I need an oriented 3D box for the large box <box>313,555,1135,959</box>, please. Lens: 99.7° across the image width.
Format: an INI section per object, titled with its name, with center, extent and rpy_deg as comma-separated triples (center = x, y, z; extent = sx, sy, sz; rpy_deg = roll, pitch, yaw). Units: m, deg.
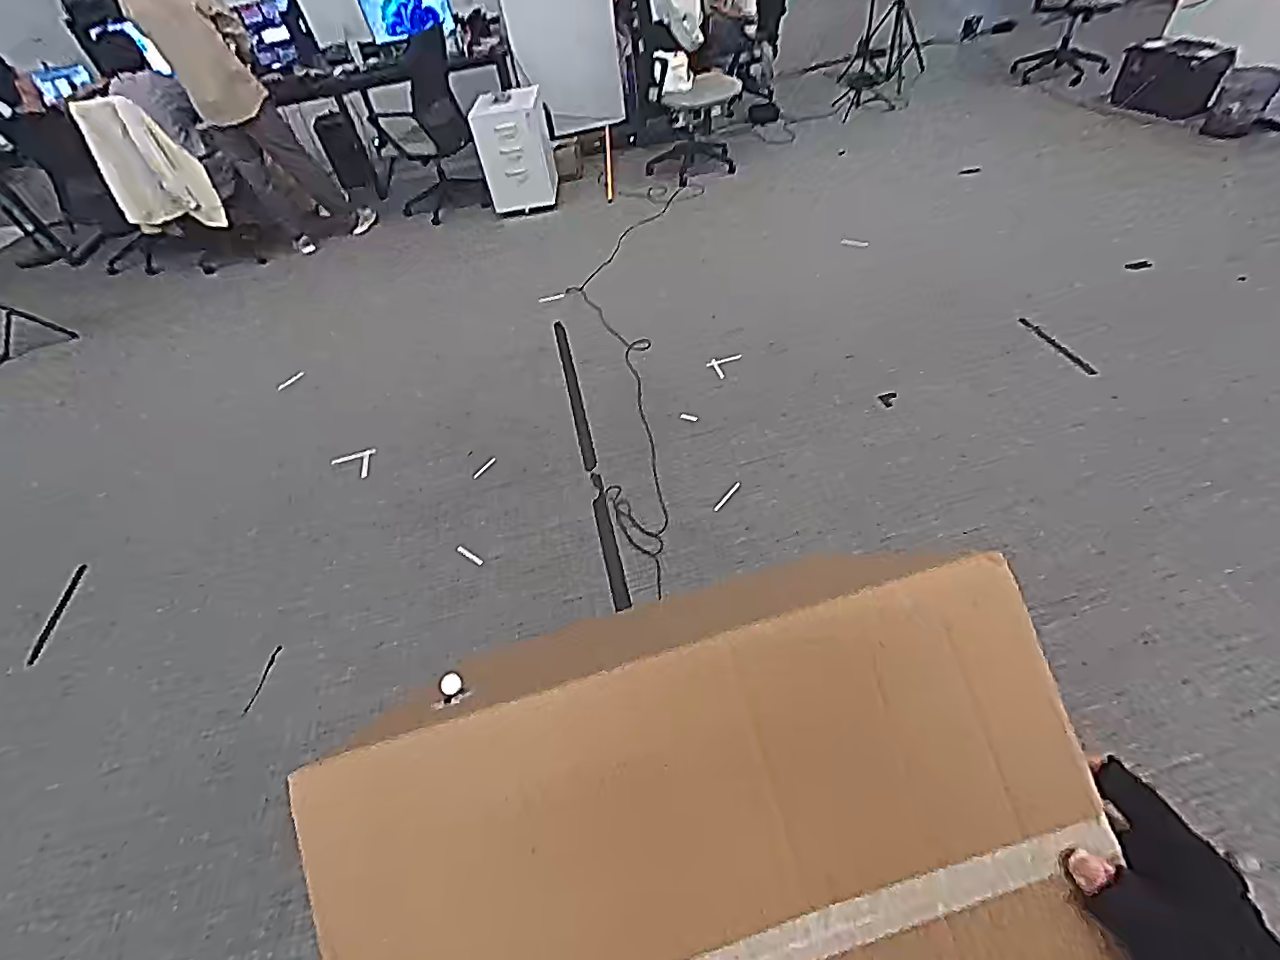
[large box]
center = 0.050, 0.270, 0.433
extent = 0.408, 0.320, 0.320
rpy_deg = -17, 83, -4
